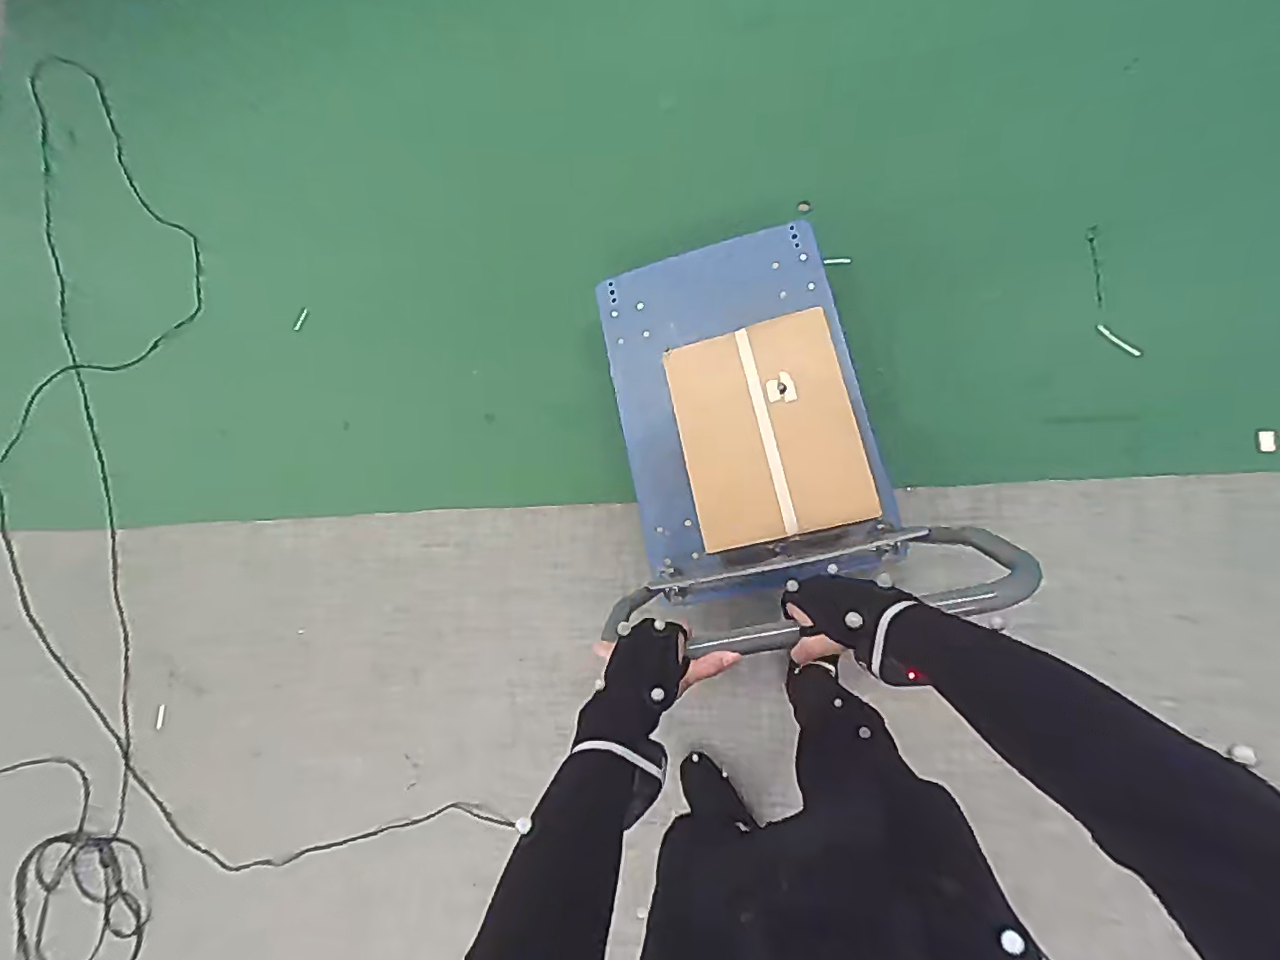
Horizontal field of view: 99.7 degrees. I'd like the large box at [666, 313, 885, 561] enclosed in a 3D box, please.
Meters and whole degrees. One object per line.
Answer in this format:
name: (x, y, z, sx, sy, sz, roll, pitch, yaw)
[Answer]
large box: (0.269, -0.062, 1.132, 0.320, 0.320, 0.408, -14, 77, 9)
